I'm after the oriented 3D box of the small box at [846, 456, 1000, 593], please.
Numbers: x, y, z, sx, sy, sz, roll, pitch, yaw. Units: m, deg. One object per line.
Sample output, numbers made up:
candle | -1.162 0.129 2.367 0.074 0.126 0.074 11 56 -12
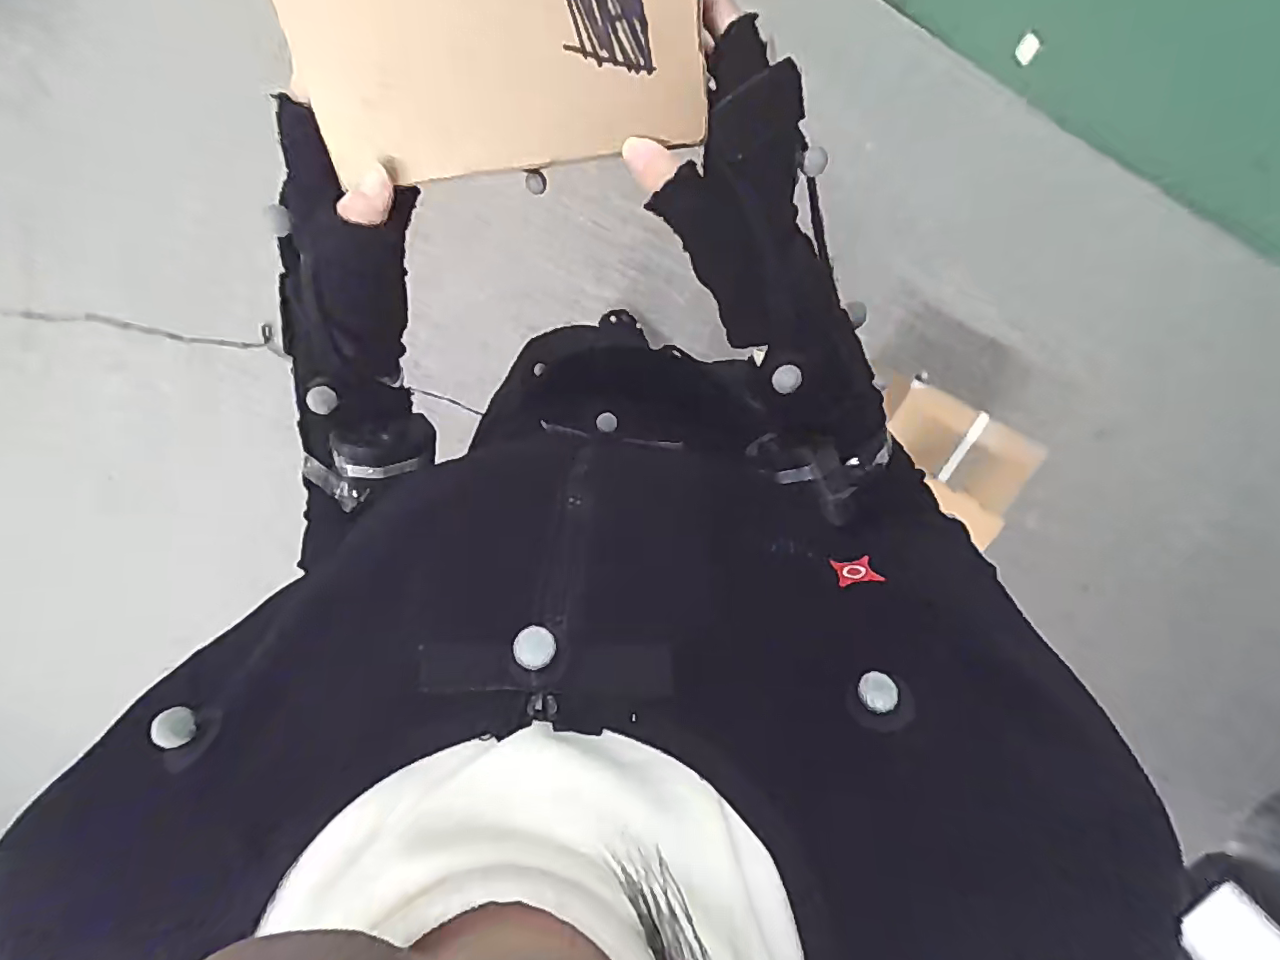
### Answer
small box | 0.525 0.076 1.035 0.168 0.176 0.179 29 108 -4
